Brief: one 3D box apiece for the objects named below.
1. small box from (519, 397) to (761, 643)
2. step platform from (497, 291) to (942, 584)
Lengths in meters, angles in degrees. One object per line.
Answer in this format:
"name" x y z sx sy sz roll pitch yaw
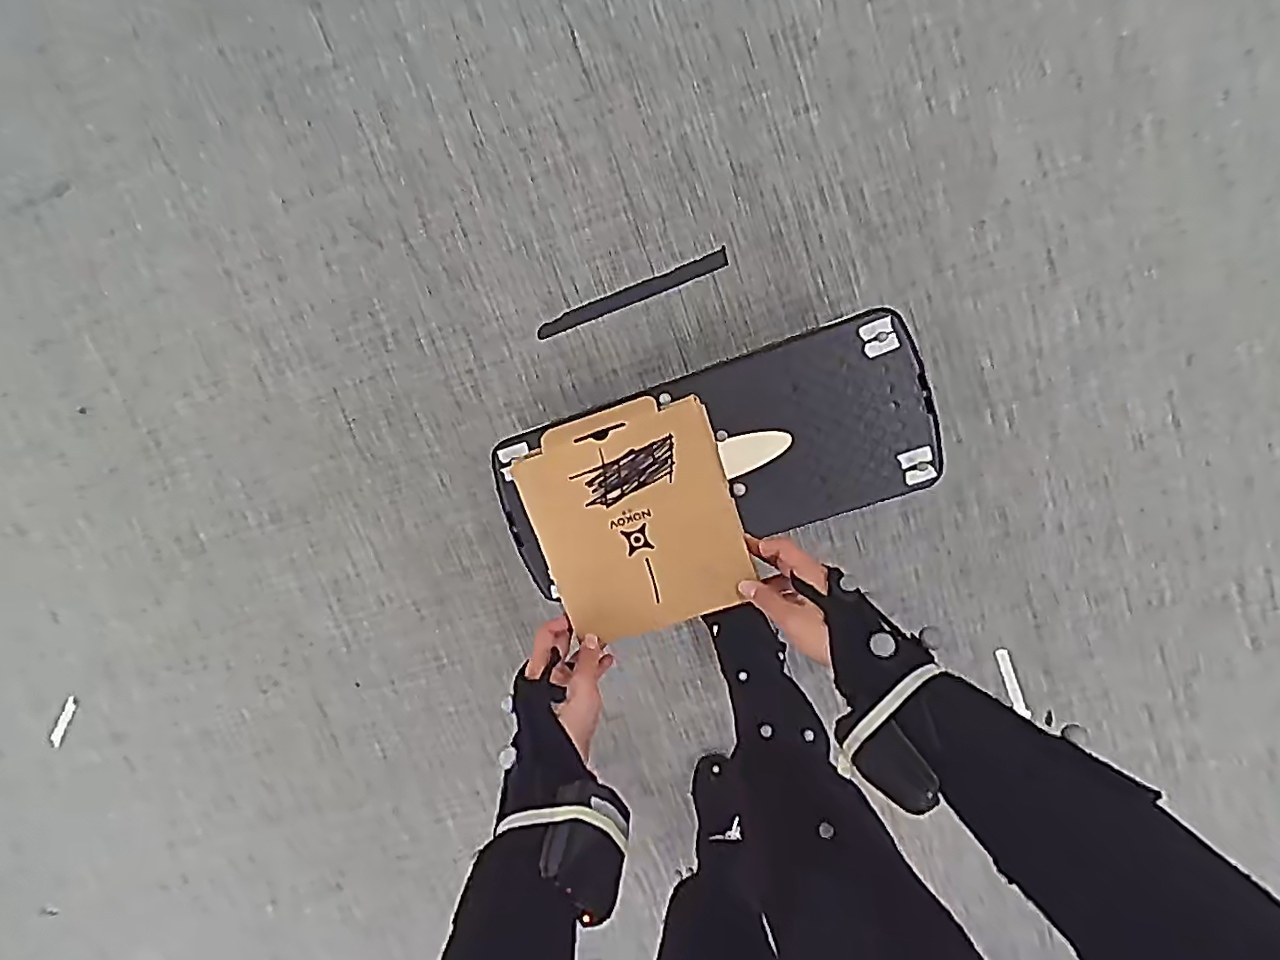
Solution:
"small box" 0.007 0.028 0.532 0.168 0.176 0.179 -18 96 9
"step platform" 0.117 -0.062 0.901 0.684 0.204 0.286 -19 96 7
